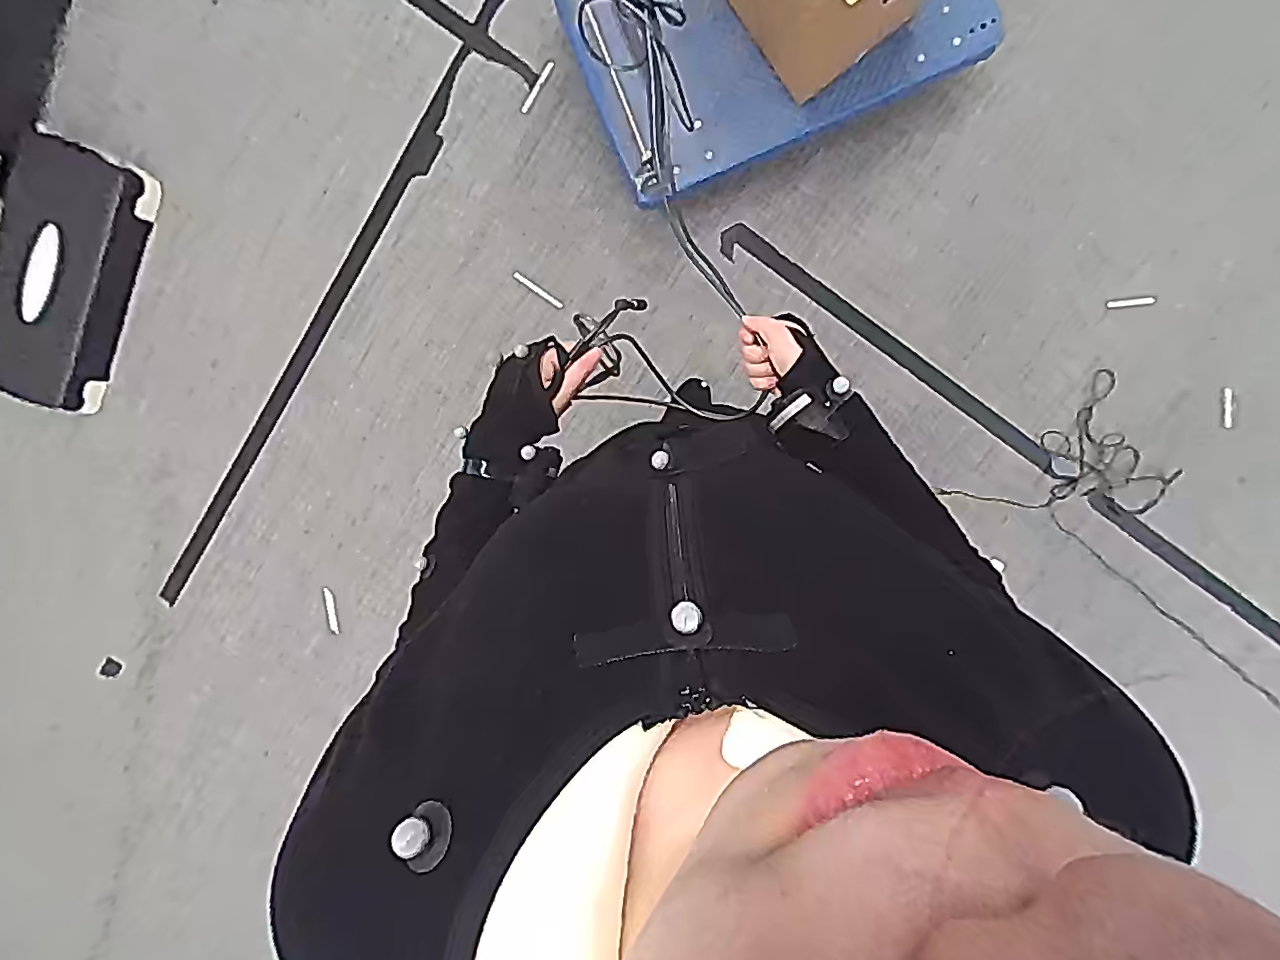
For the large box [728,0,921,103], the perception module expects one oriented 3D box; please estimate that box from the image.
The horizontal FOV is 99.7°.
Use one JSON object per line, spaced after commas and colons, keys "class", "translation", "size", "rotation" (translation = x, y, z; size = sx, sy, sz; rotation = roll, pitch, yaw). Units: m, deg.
{"class": "large box", "translation": [0.349, -1.048, 1.009], "size": [0.320, 0.320, 0.408], "rotation": [-37, 97, 6]}
